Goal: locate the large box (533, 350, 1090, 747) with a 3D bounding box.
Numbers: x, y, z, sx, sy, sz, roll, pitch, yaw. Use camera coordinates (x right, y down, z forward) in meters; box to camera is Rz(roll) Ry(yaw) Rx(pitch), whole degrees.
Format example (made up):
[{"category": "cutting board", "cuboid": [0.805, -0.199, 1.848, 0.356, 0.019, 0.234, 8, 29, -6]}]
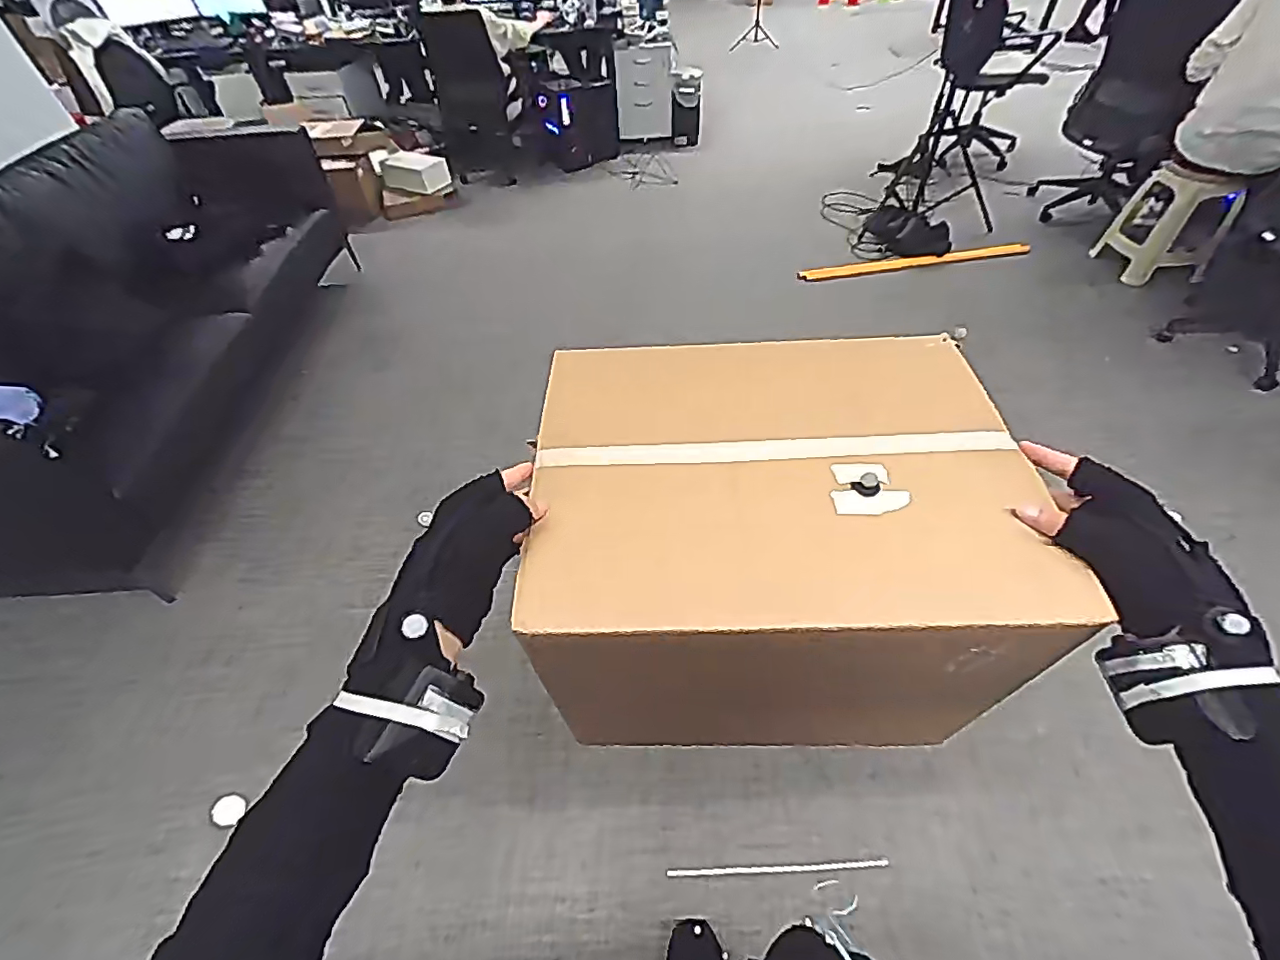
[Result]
[{"category": "large box", "cuboid": [0.122, 0.082, 0.589, 0.408, 0.320, 0.320, -2, 51, 2]}]
